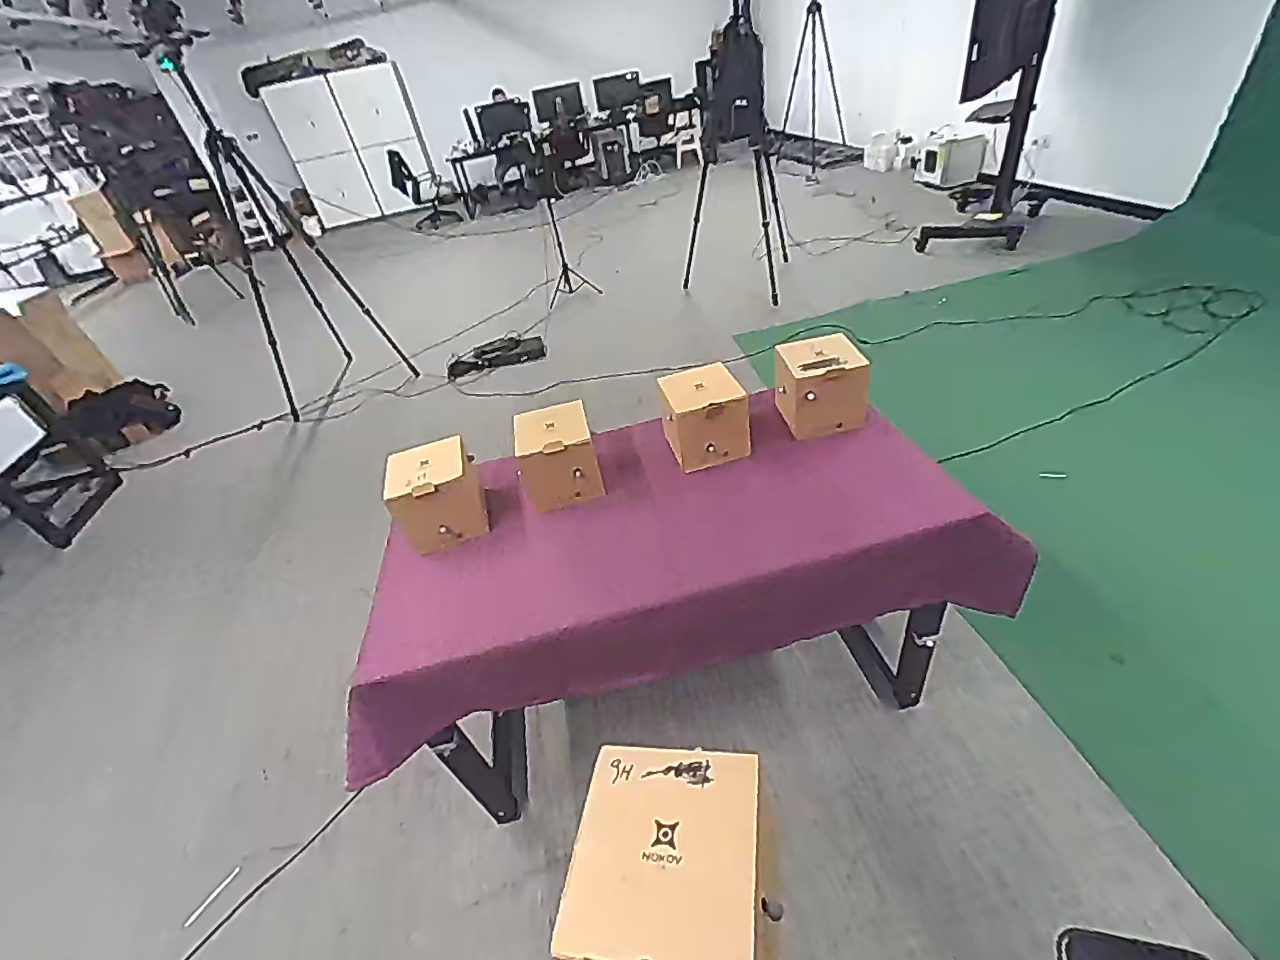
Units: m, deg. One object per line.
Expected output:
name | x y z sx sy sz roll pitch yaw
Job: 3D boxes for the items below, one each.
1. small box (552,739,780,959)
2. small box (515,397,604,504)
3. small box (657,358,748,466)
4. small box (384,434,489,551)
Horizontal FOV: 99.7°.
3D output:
small box | 0.042 0.381 0.522 0.168 0.176 0.179 -6 35 19
small box | -0.186 -0.062 1.256 0.168 0.176 0.179 -14 39 -3
small box | 0.148 -0.160 1.281 0.168 0.176 0.179 -16 40 -4
small box | -0.450 0.028 1.217 0.168 0.176 0.179 -19 39 -7
